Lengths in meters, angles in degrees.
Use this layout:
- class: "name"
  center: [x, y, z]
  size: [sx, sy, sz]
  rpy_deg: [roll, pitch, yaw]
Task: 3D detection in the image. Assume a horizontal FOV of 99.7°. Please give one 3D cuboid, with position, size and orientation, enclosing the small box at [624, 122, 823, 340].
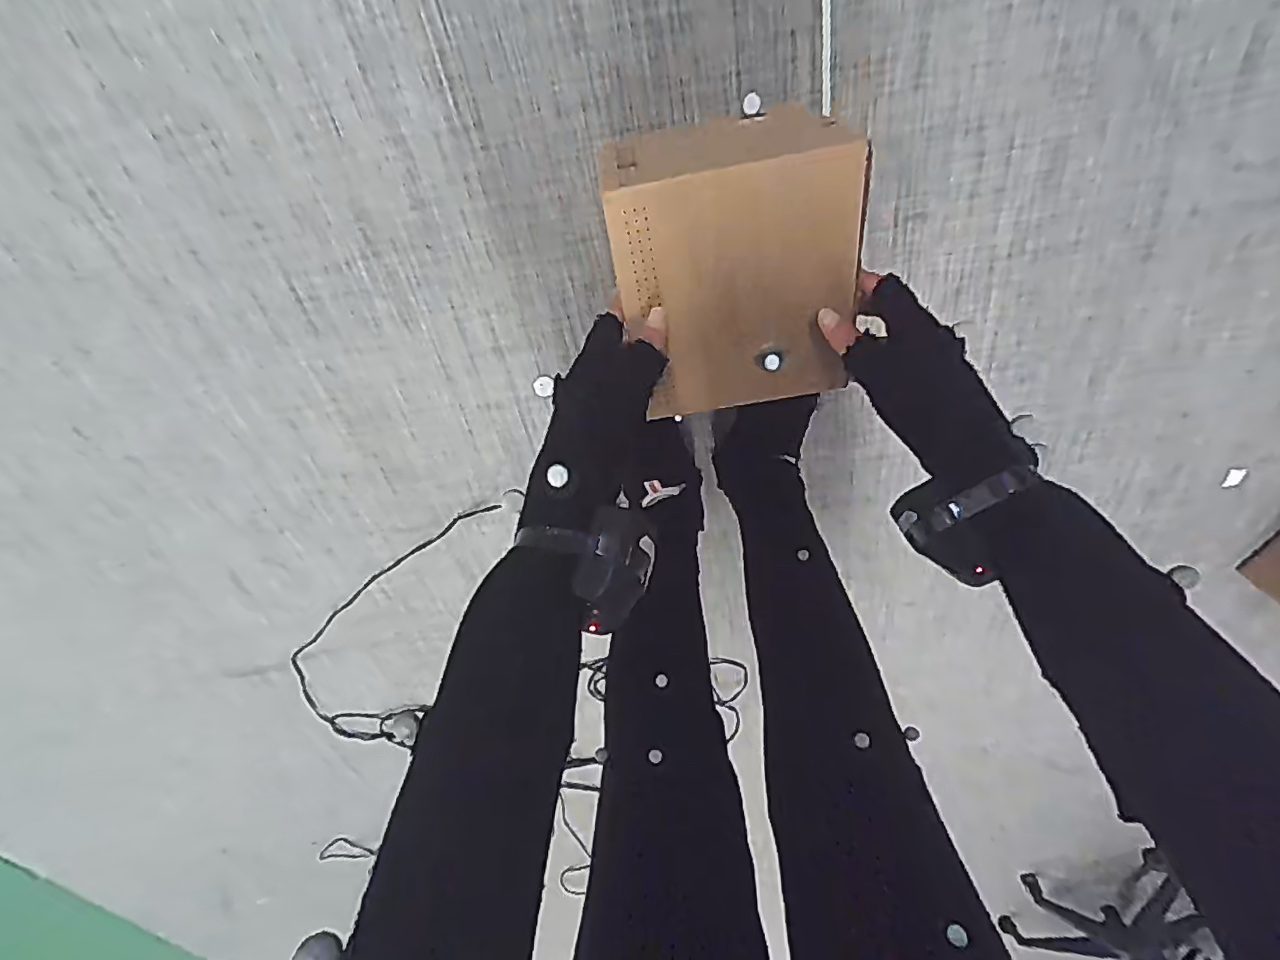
- class: "small box"
  center: [0.086, -0.275, 0.588]
  size: [0.179, 0.176, 0.168]
  rpy_deg: [-11, 123, 9]
